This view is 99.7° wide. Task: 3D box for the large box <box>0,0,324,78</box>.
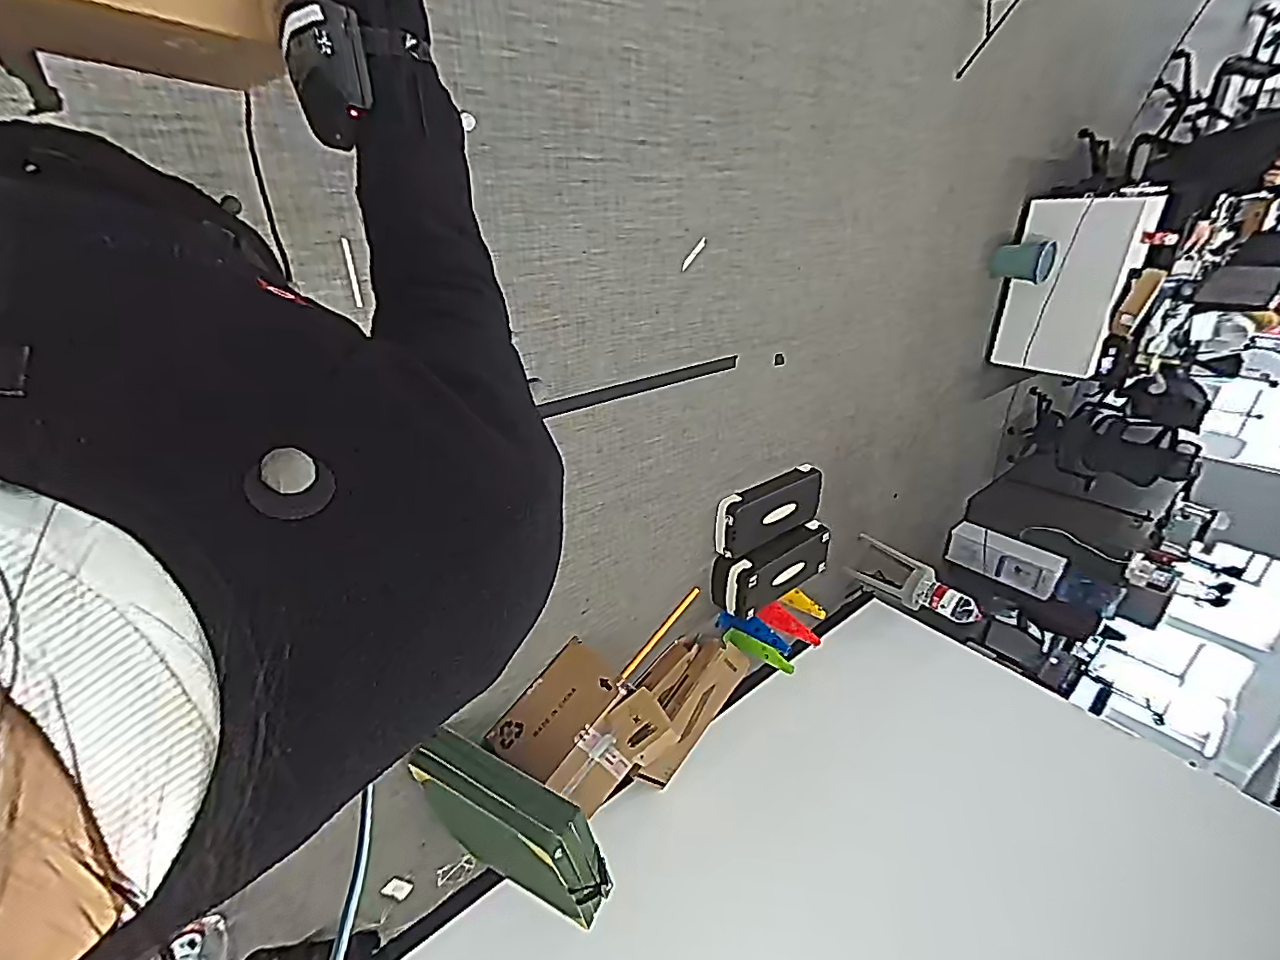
[{"bbox_3d":[-0.455,-0.452,0.284,0.408,0.320,0.320,-18,126,-40],"label":"large box"}]
